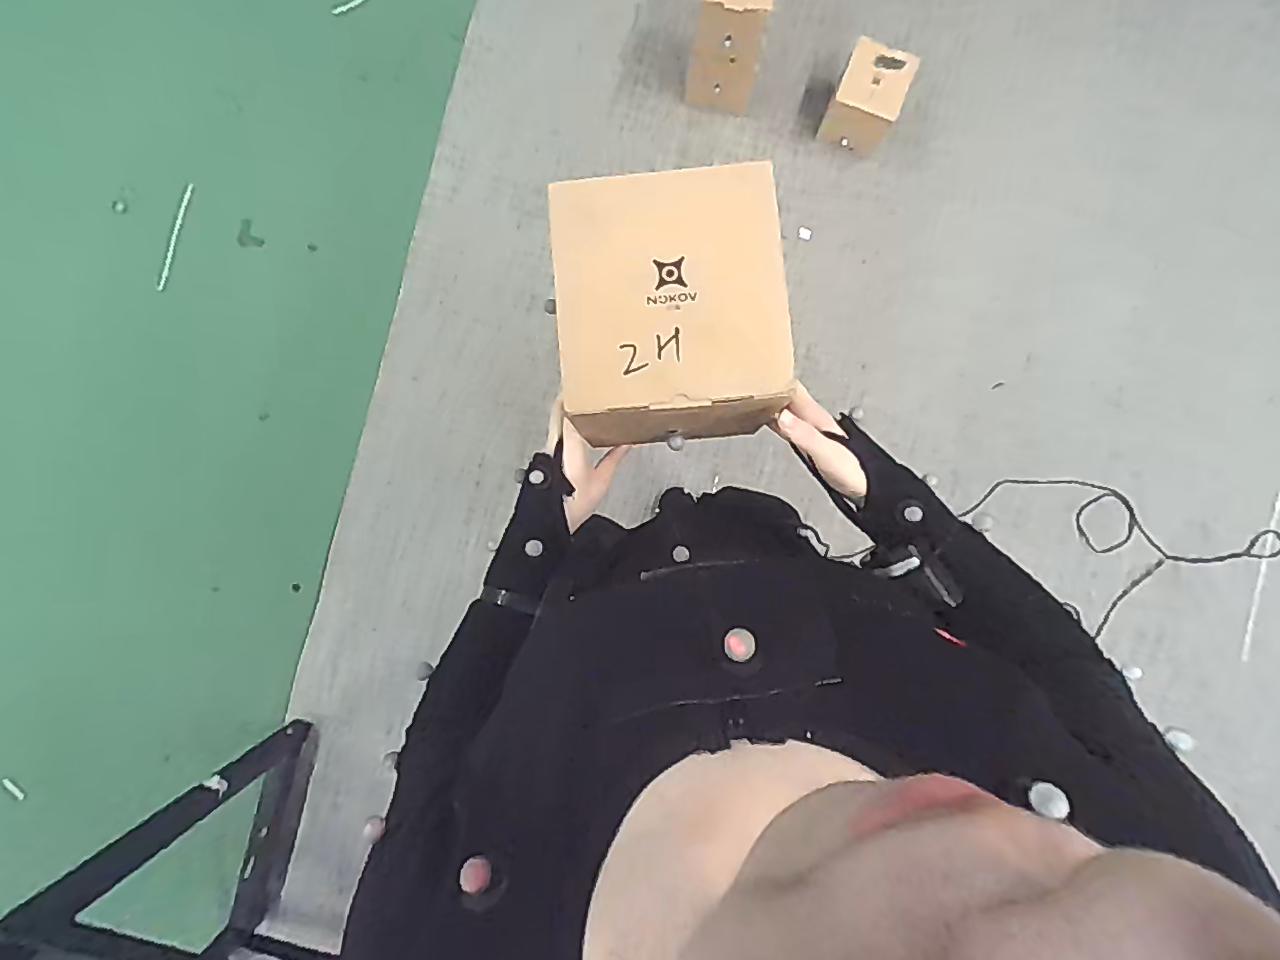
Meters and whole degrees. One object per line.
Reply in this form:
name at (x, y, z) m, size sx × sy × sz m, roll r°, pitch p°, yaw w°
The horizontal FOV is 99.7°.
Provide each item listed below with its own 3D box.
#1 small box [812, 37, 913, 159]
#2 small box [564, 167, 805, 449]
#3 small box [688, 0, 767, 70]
small box at (0.579, -1.002, 1.432) m, size 0.168 × 0.176 × 0.179 m, roll 21°, pitch 90°, yaw 0°
small box at (0.031, -0.130, 0.467) m, size 0.168 × 0.176 × 0.179 m, roll -4°, pitch 84°, yaw 2°
small box at (0.212, -1.118, 1.270) m, size 0.168 × 0.176 × 0.179 m, roll 12°, pitch 90°, yaw 1°
